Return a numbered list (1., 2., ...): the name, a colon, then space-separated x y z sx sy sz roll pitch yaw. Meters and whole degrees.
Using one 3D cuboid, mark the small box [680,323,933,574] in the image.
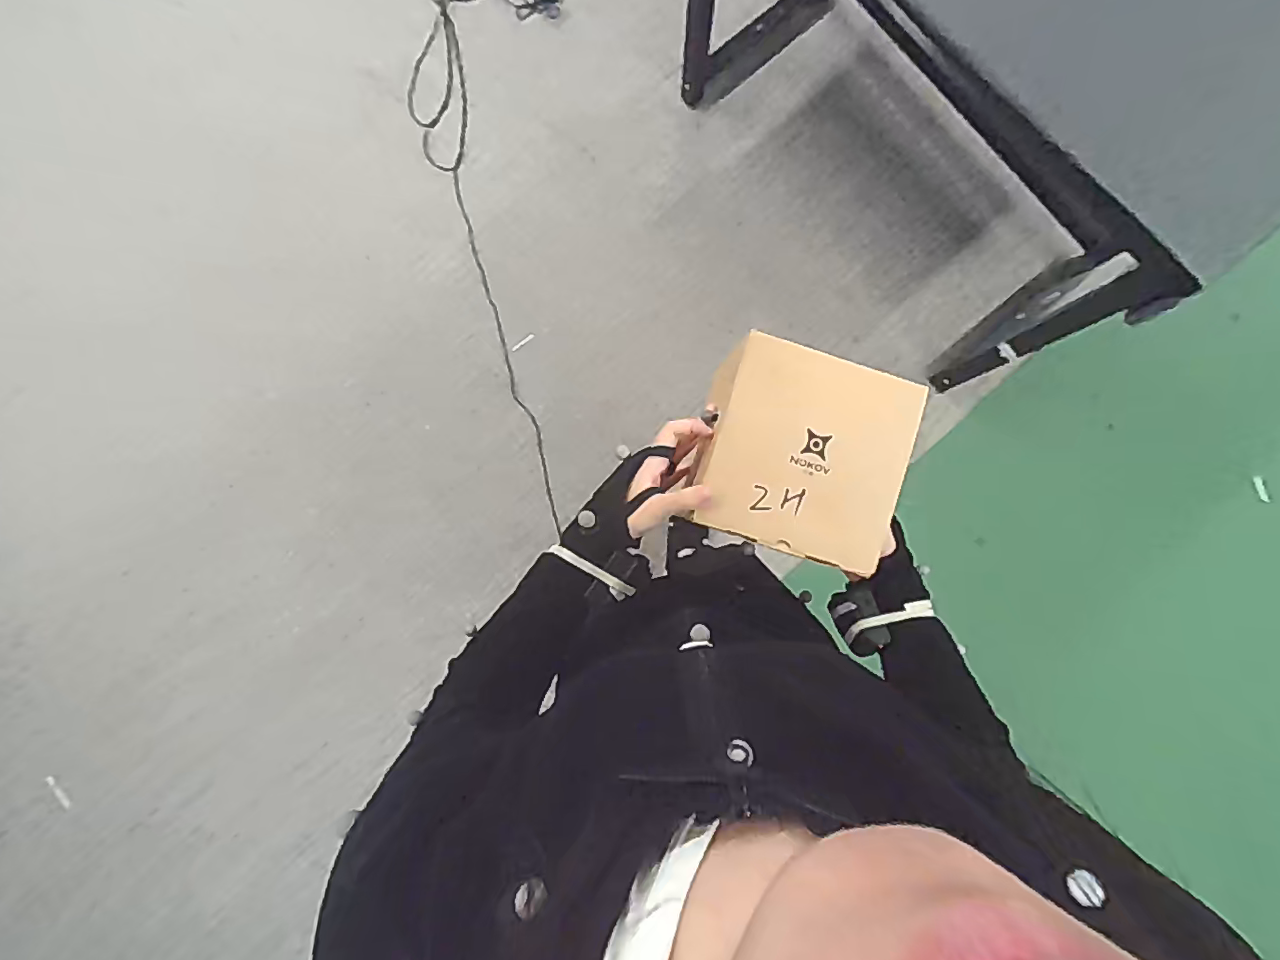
1. small box: 0.145 -0.023 0.533 0.168 0.176 0.179 17 87 -2
